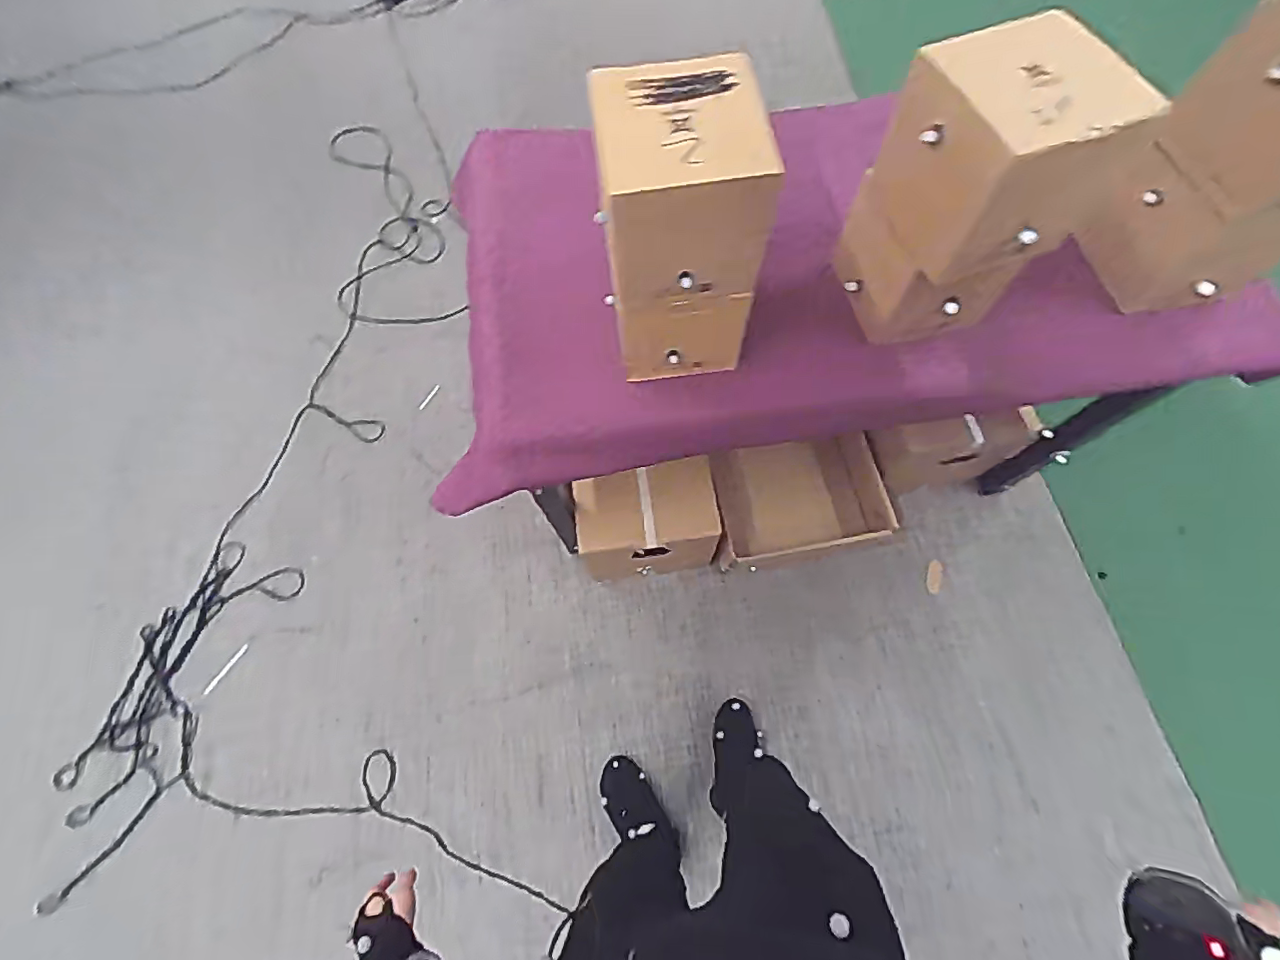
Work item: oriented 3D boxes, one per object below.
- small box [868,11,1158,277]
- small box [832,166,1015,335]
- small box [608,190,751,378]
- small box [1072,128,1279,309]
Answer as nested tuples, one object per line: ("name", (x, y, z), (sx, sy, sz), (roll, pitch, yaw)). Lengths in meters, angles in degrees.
("small box", (0.388, -0.367, 0.607), (0.168, 0.176, 0.179), (-19, 68, -4))
("small box", (0.398, -0.327, 0.769), (0.168, 0.176, 0.179), (-13, 68, -3))
("small box", (0.047, -0.270, 0.764), (0.168, 0.176, 0.179), (-8, 69, -1))
("small box", (0.777, -0.375, 0.770), (0.168, 0.176, 0.179), (-9, 68, 0))
